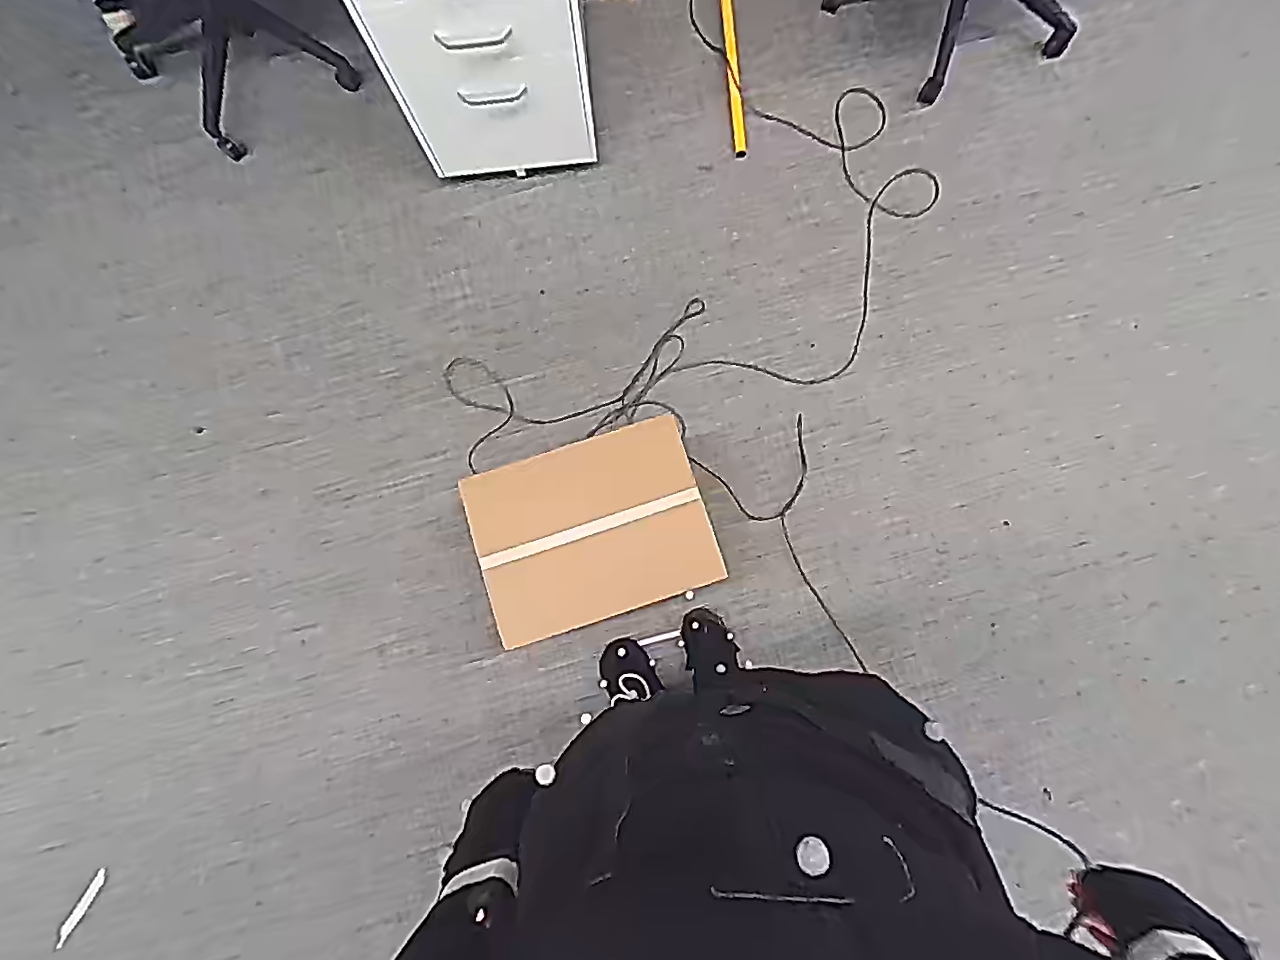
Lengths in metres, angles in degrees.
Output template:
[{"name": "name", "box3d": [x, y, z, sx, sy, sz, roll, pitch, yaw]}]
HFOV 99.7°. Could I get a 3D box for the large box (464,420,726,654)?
[{"name": "large box", "box3d": [-0.080, 0.115, 1.103, 0.408, 0.320, 0.320, -18, 81, -2]}]
